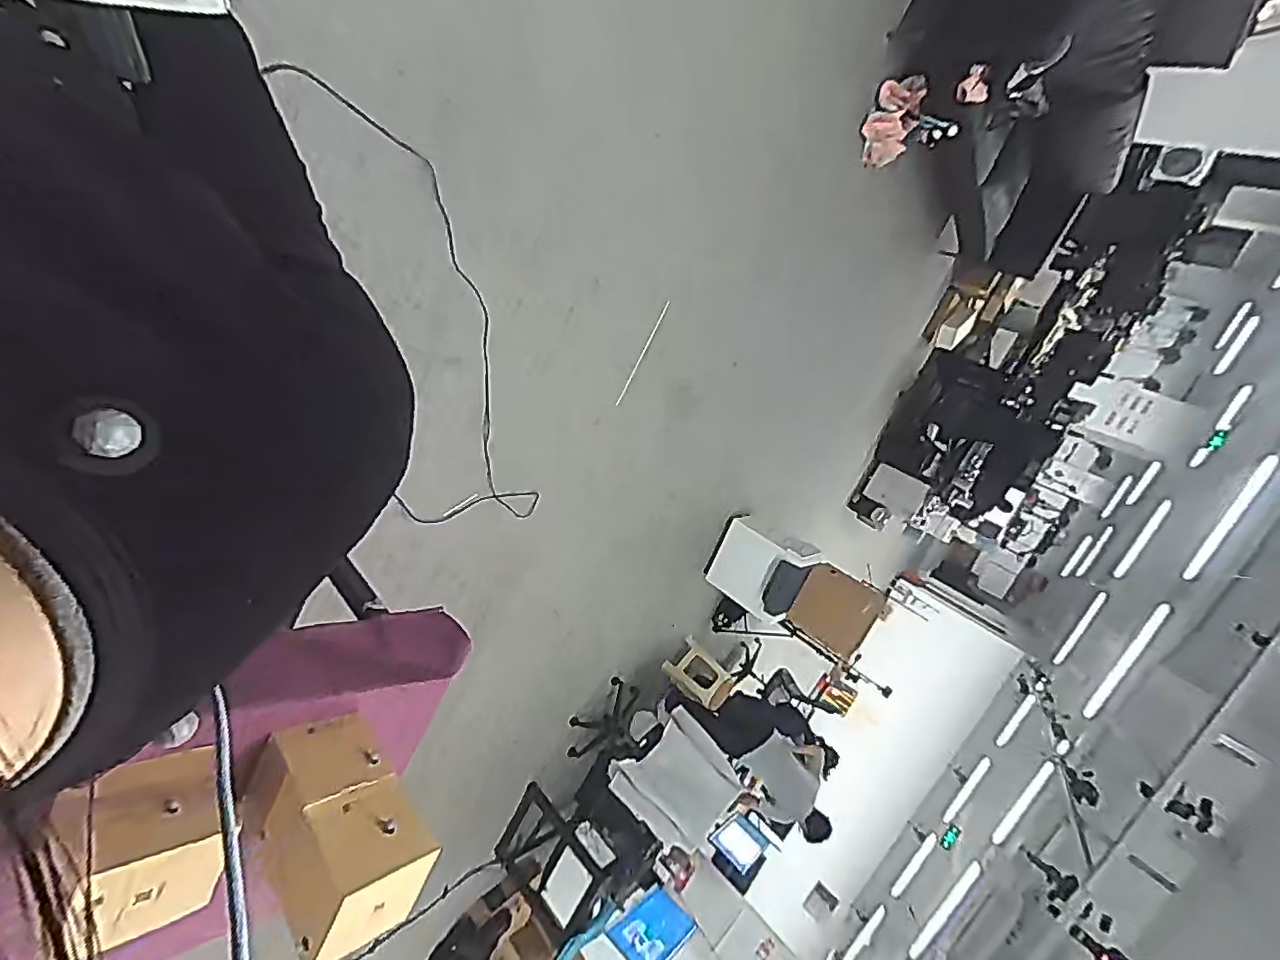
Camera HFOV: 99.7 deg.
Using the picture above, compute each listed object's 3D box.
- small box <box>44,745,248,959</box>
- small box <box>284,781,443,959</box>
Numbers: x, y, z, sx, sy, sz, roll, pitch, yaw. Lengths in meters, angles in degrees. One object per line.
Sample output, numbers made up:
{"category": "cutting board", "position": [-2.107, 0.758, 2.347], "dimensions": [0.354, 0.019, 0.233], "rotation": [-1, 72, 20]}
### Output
{"category": "small box", "position": [-0.728, 0.527, 0.798], "dimensions": [0.179, 0.176, 0.168], "rotation": [14, 107, -55]}
{"category": "small box", "position": [-0.475, 0.650, 0.921], "dimensions": [0.168, 0.176, 0.179], "rotation": [9, 113, -53]}
